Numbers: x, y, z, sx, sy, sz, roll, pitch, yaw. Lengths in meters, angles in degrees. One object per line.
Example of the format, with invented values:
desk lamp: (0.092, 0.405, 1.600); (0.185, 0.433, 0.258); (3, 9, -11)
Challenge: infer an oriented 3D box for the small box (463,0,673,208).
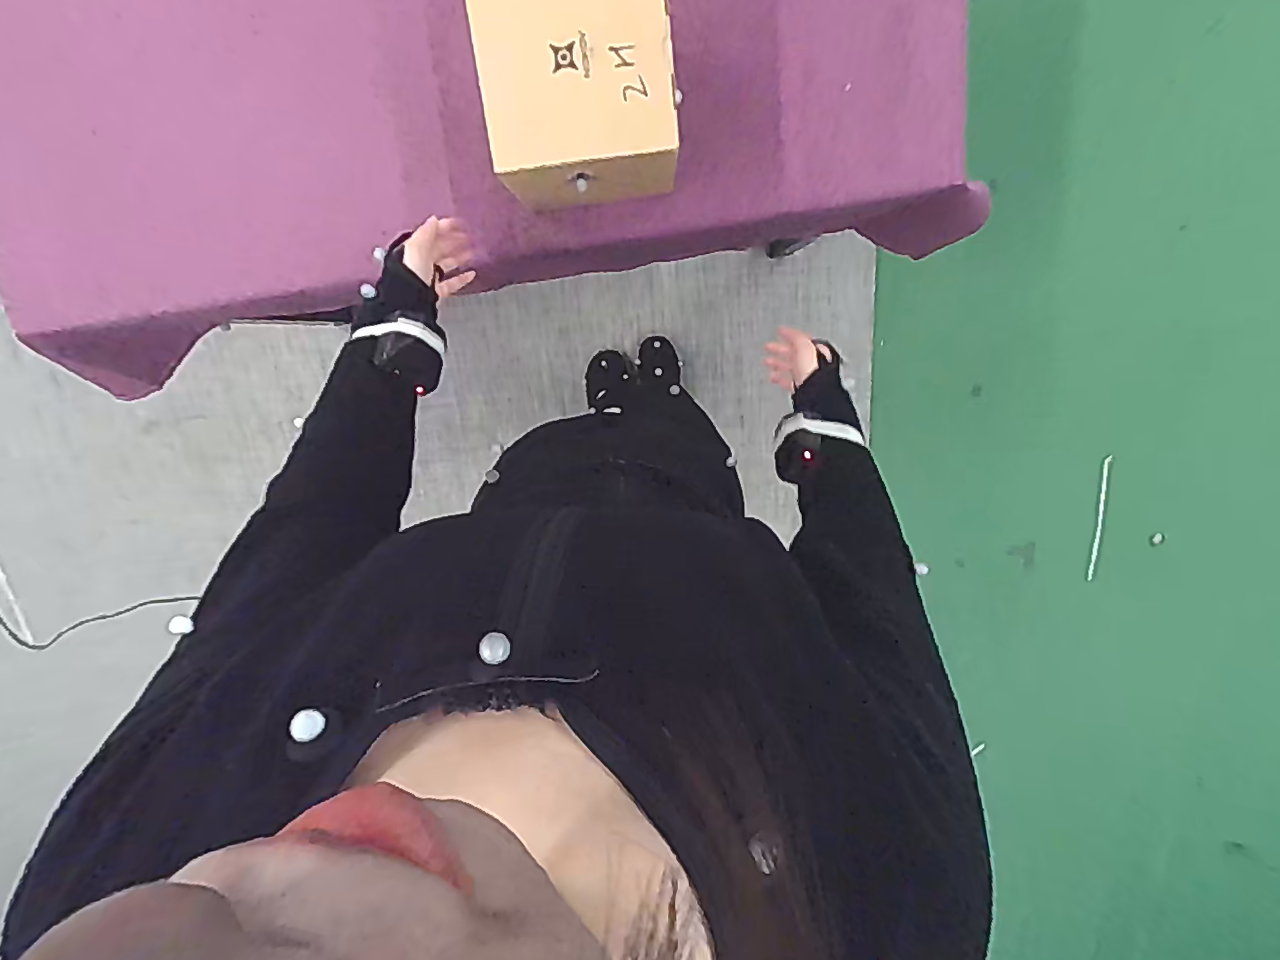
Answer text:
small box: (-0.061, -0.392, 0.556); (0.179, 0.176, 0.168); (-6, 106, 2)

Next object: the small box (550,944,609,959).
small box: (-0.170, 1.420, 1.476); (0.168, 0.176, 0.179); (1, 107, 0)
